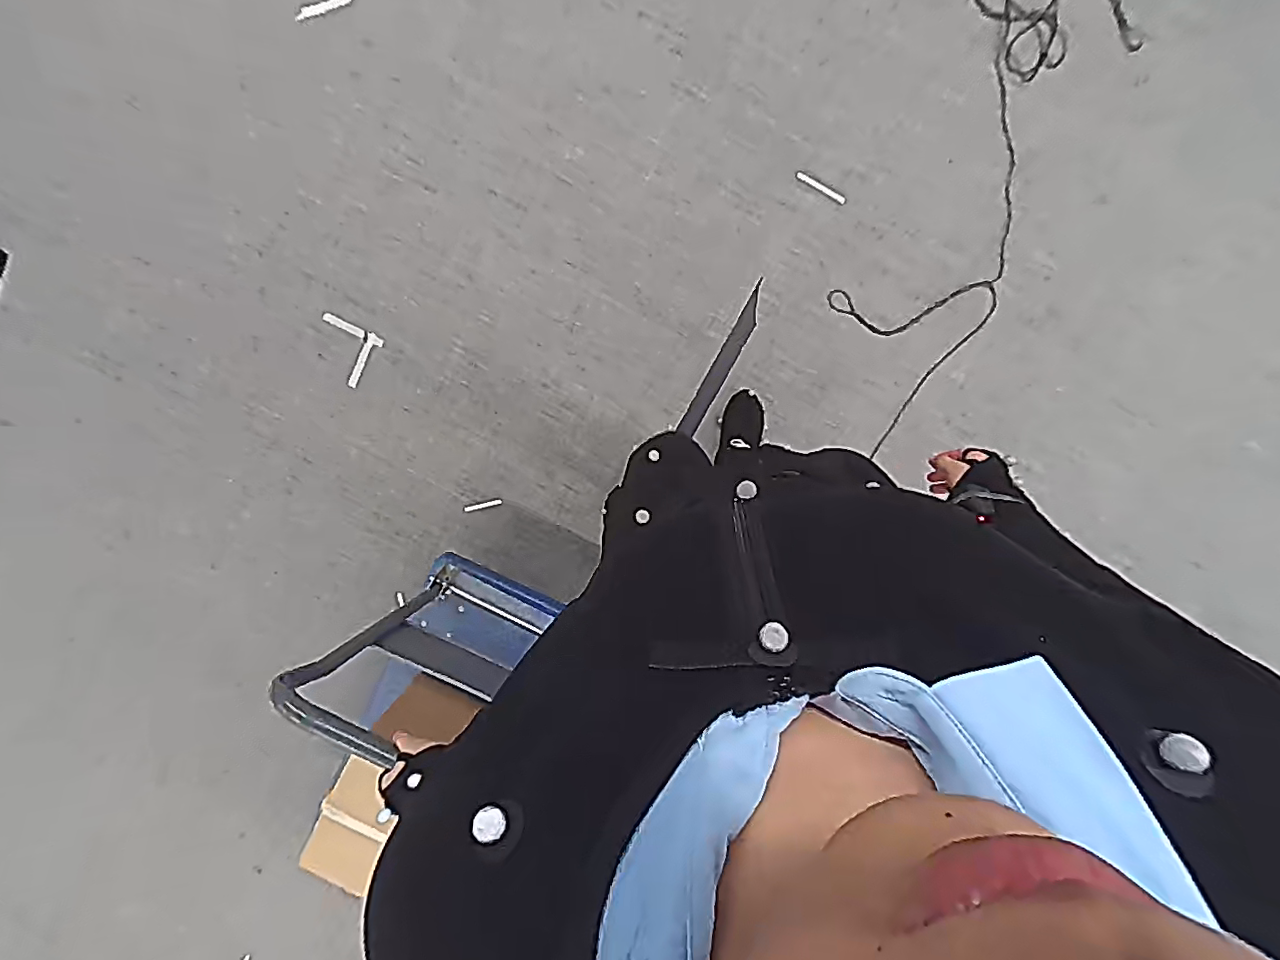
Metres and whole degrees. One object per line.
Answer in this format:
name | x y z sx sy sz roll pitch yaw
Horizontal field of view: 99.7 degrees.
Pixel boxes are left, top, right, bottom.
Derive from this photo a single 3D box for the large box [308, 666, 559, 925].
large box | -0.453 0.710 1.272 0.408 0.320 0.320 28 97 -3
